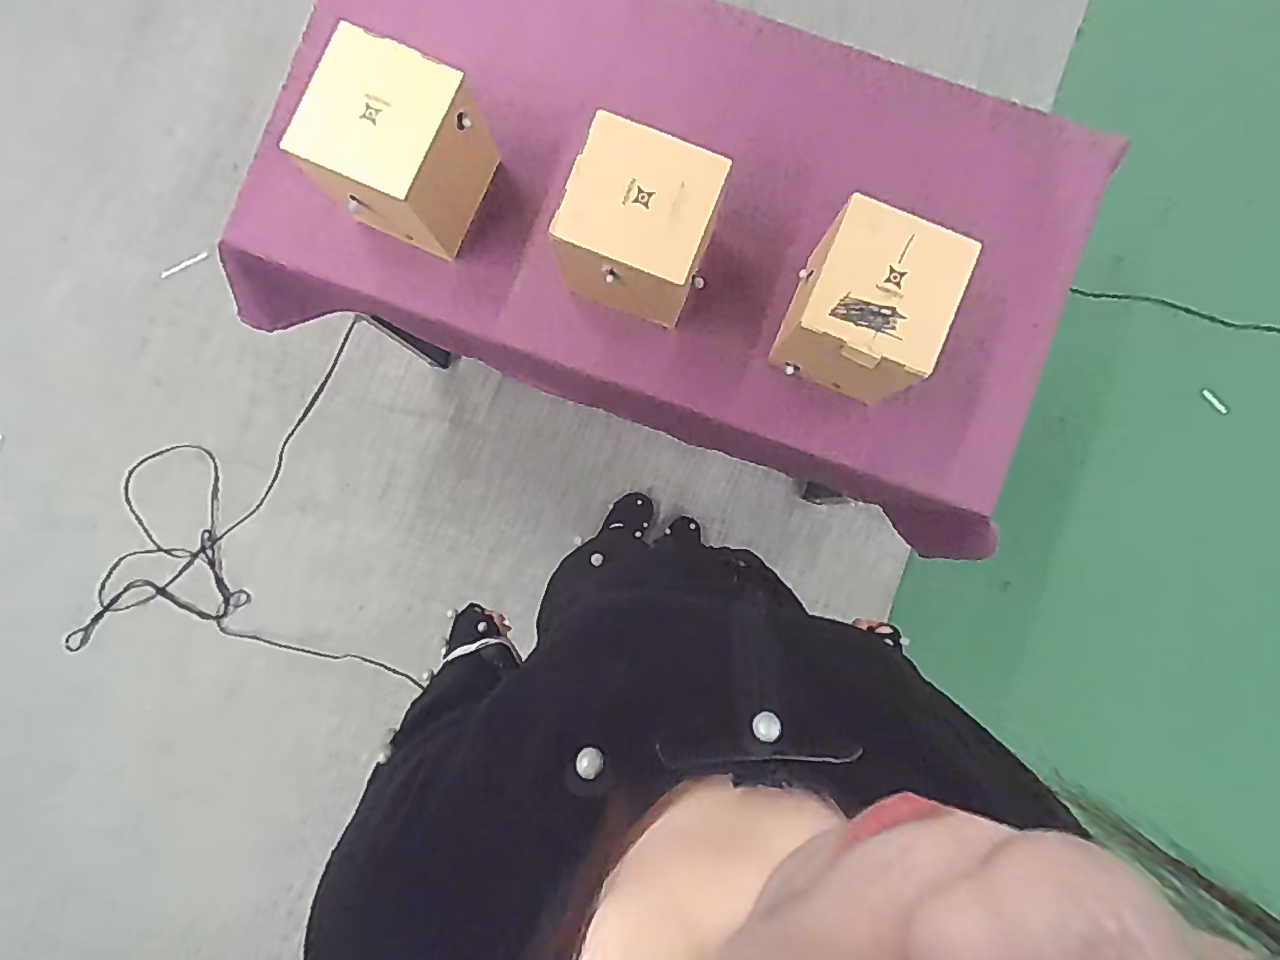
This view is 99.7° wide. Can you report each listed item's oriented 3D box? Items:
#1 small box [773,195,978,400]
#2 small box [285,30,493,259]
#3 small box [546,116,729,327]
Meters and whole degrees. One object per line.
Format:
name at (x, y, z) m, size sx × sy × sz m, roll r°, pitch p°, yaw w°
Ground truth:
small box at (0.291, -0.223, 0.713) m, size 0.168 × 0.176 × 0.179 m, roll 23°, pitch 86°, yaw 1°
small box at (-0.320, -0.434, 0.731) m, size 0.168 × 0.176 × 0.179 m, roll 24°, pitch 86°, yaw 1°
small box at (-0.003, -0.328, 0.723) m, size 0.179 × 0.176 × 0.168 m, roll 22°, pitch 88°, yaw 1°
